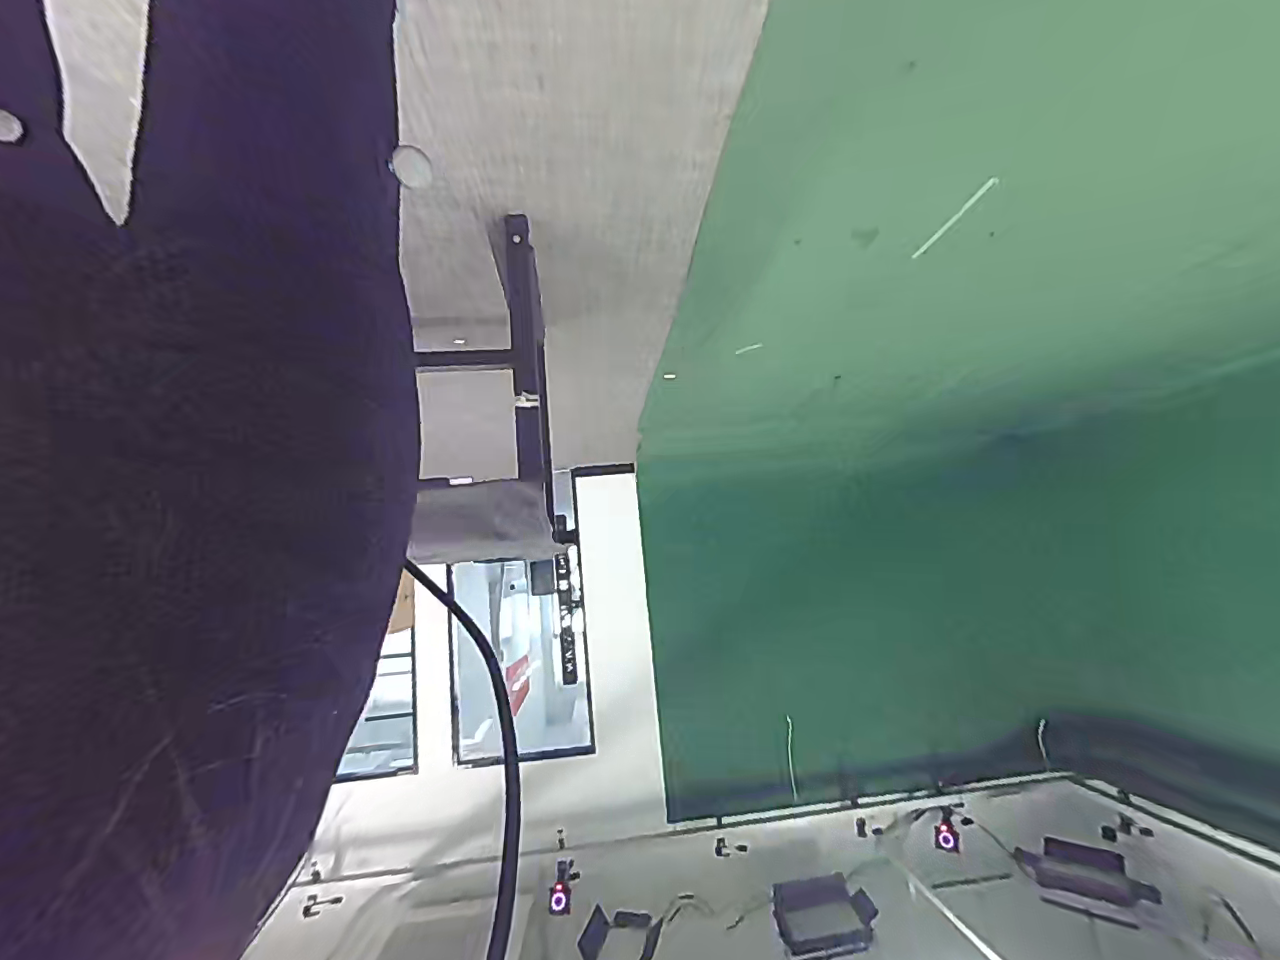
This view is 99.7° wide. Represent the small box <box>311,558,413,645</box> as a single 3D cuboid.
[{"bbox_3d":[-0.627,0.270,1.229,0.168,0.176,0.179,-4,171,-10],"label":"small box"}]
